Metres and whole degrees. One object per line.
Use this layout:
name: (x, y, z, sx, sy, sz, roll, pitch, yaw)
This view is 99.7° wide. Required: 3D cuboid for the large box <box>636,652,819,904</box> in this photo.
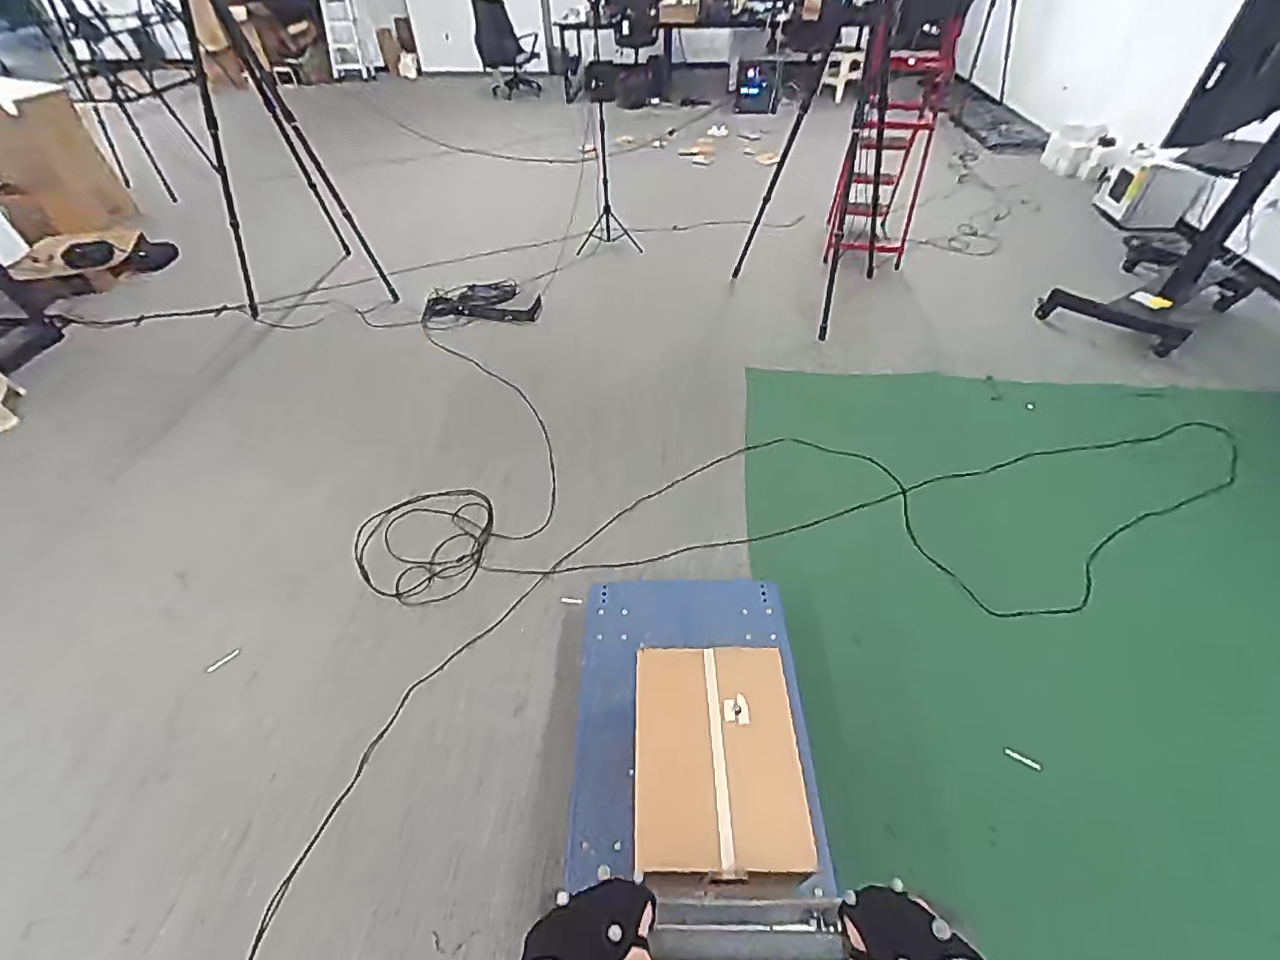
large box: (0.152, 0.627, 1.151, 0.320, 0.320, 0.408, 0, 45, 0)
